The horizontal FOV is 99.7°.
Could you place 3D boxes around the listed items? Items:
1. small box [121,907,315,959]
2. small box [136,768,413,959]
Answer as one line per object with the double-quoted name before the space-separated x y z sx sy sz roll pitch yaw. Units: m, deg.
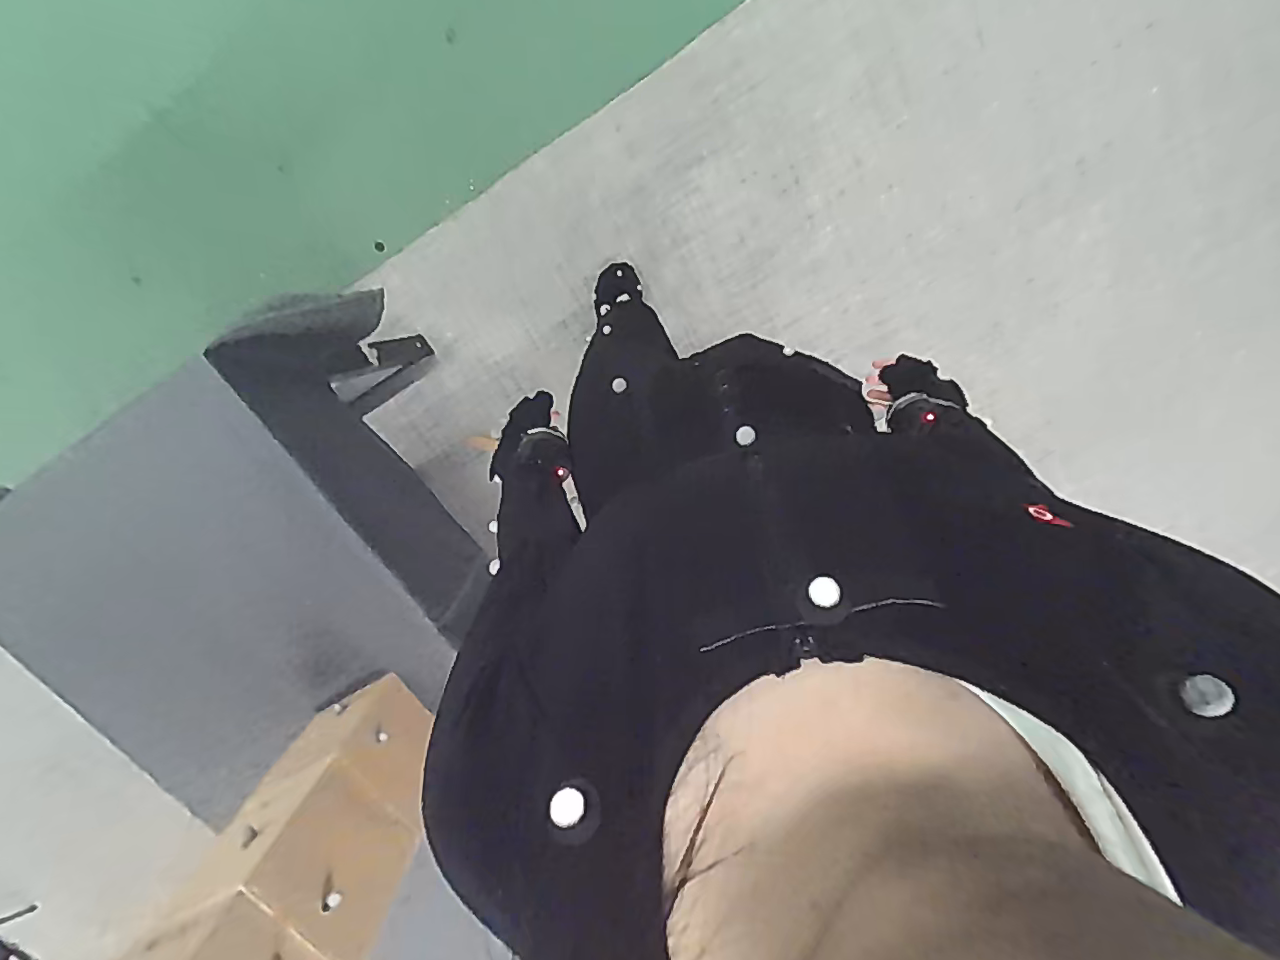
"small box" -0.423 0.539 0.497 0.168 0.176 0.179 -29 105 10
"small box" -0.417 0.484 0.651 0.168 0.176 0.179 -31 105 10
